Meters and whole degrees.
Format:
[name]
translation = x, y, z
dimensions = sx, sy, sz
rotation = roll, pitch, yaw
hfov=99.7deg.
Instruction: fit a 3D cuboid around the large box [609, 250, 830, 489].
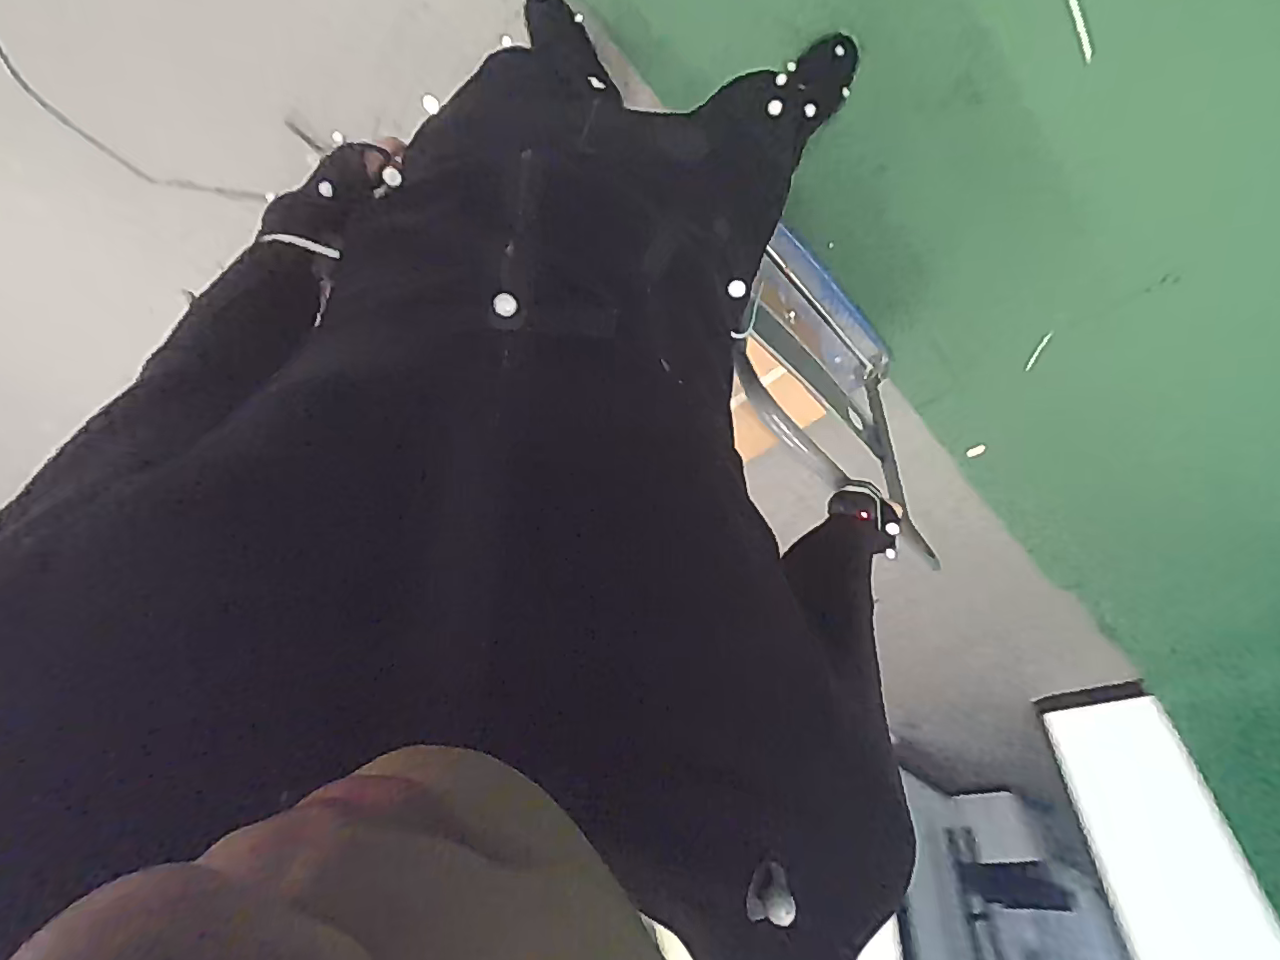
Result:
[large box]
translation = 0.186, -0.251, 1.298
dimensions = 0.320, 0.320, 0.408
rotation = 37, 131, -24
